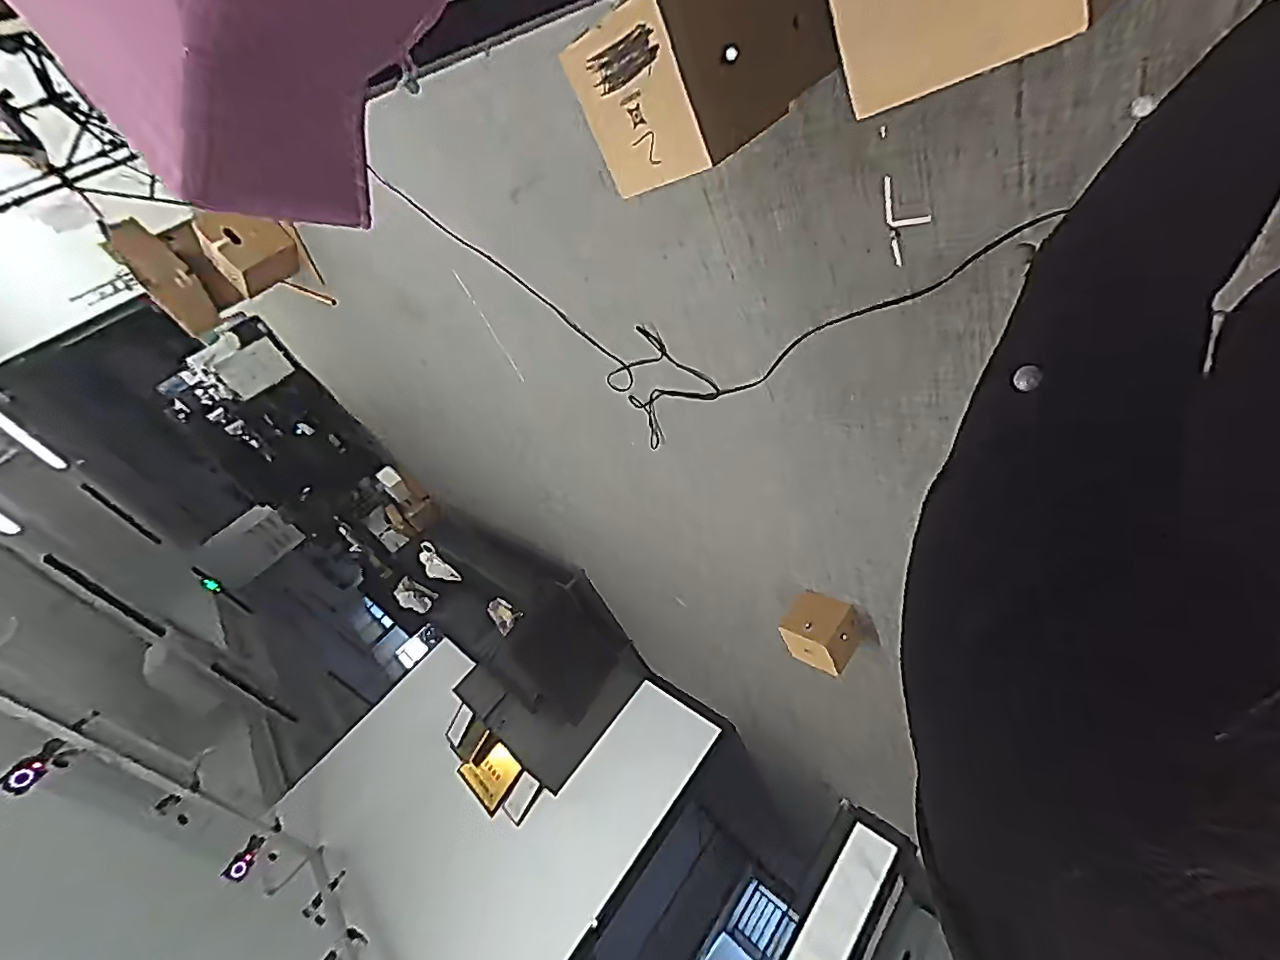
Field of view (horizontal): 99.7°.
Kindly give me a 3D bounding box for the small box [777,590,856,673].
[{"bbox_3d":[0.583,0.484,1.760,0.179,0.176,0.168,14,140,50],"label":"small box"}]
